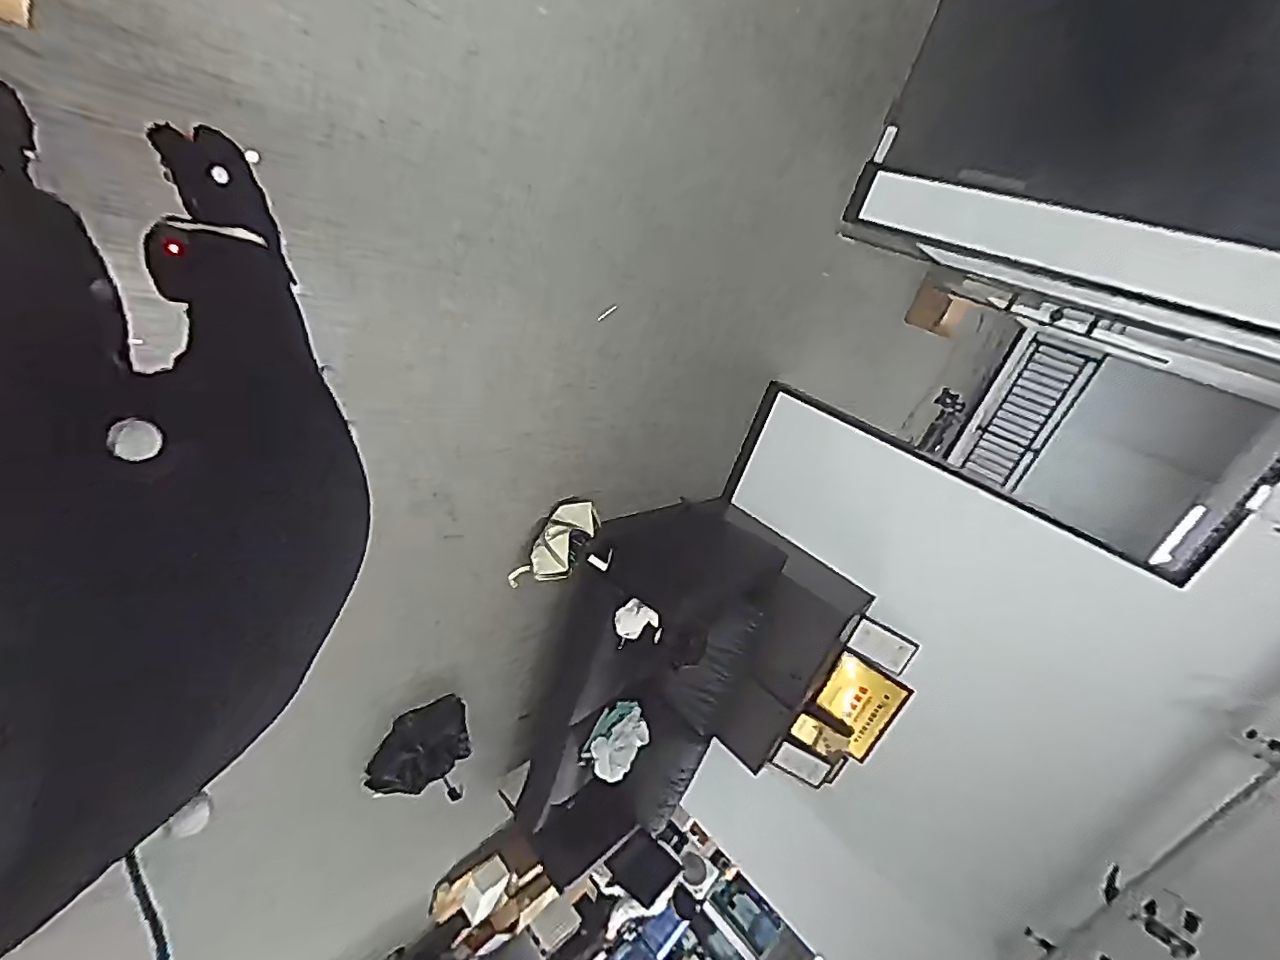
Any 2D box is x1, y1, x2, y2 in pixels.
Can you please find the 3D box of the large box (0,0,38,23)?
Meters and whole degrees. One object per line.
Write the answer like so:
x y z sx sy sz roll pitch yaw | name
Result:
-0.937 -0.759 0.553 0.408 0.320 0.320 -5 122 -50 | large box
